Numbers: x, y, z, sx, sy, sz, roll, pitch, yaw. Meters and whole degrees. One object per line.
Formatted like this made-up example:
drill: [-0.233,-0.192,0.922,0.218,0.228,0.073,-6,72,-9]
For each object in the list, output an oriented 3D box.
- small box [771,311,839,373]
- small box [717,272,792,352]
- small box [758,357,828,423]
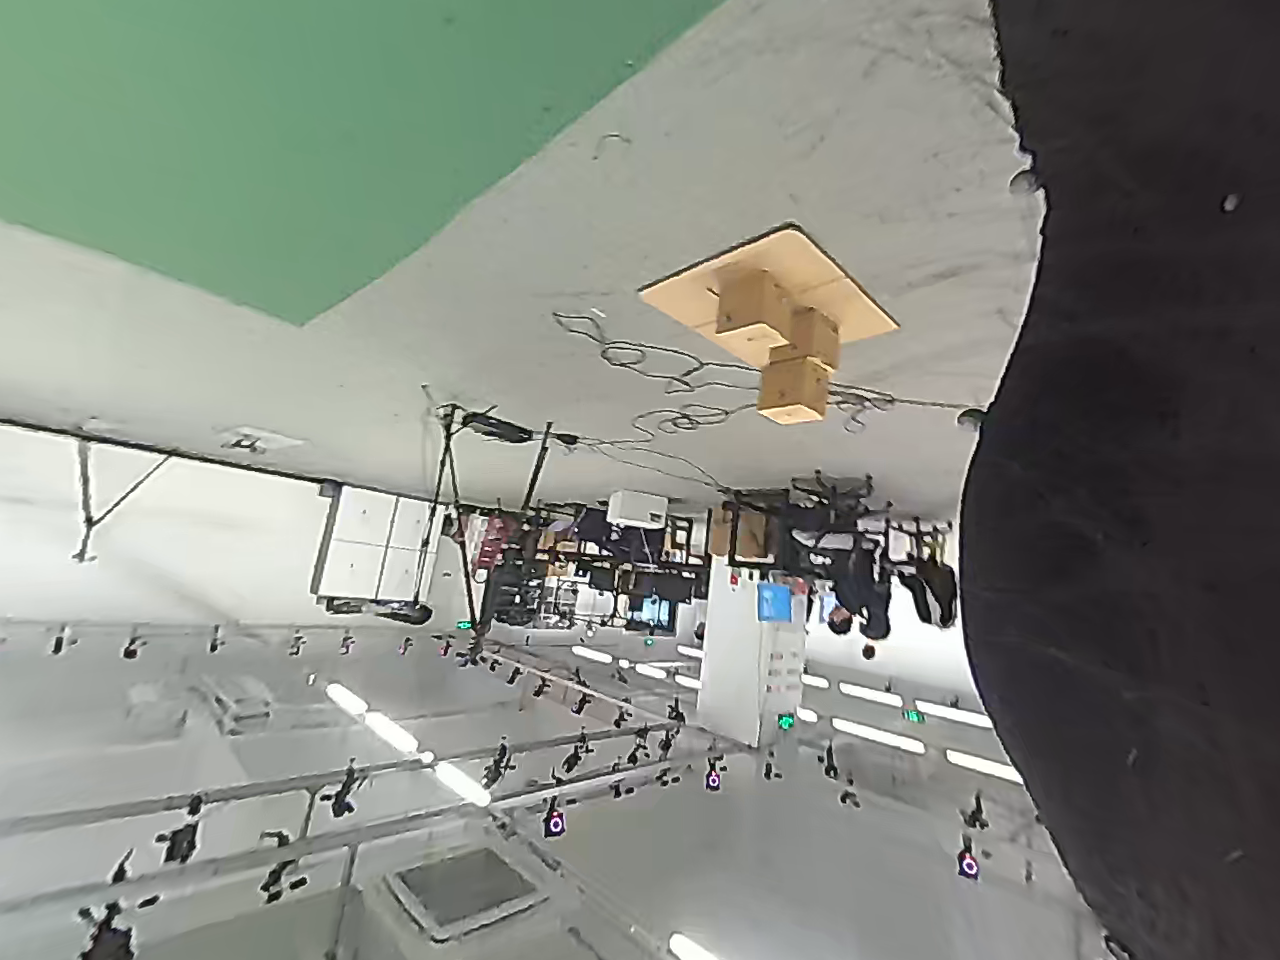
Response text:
small box: [0.577,-0.468,1.884,0.168,0.176,0.179,16,167,-39]
small box: [0.366,-0.528,1.711,0.179,0.176,0.168,-3,167,42]
small box: [0.534,-0.309,1.873,0.168,0.176,0.179,17,166,-42]
